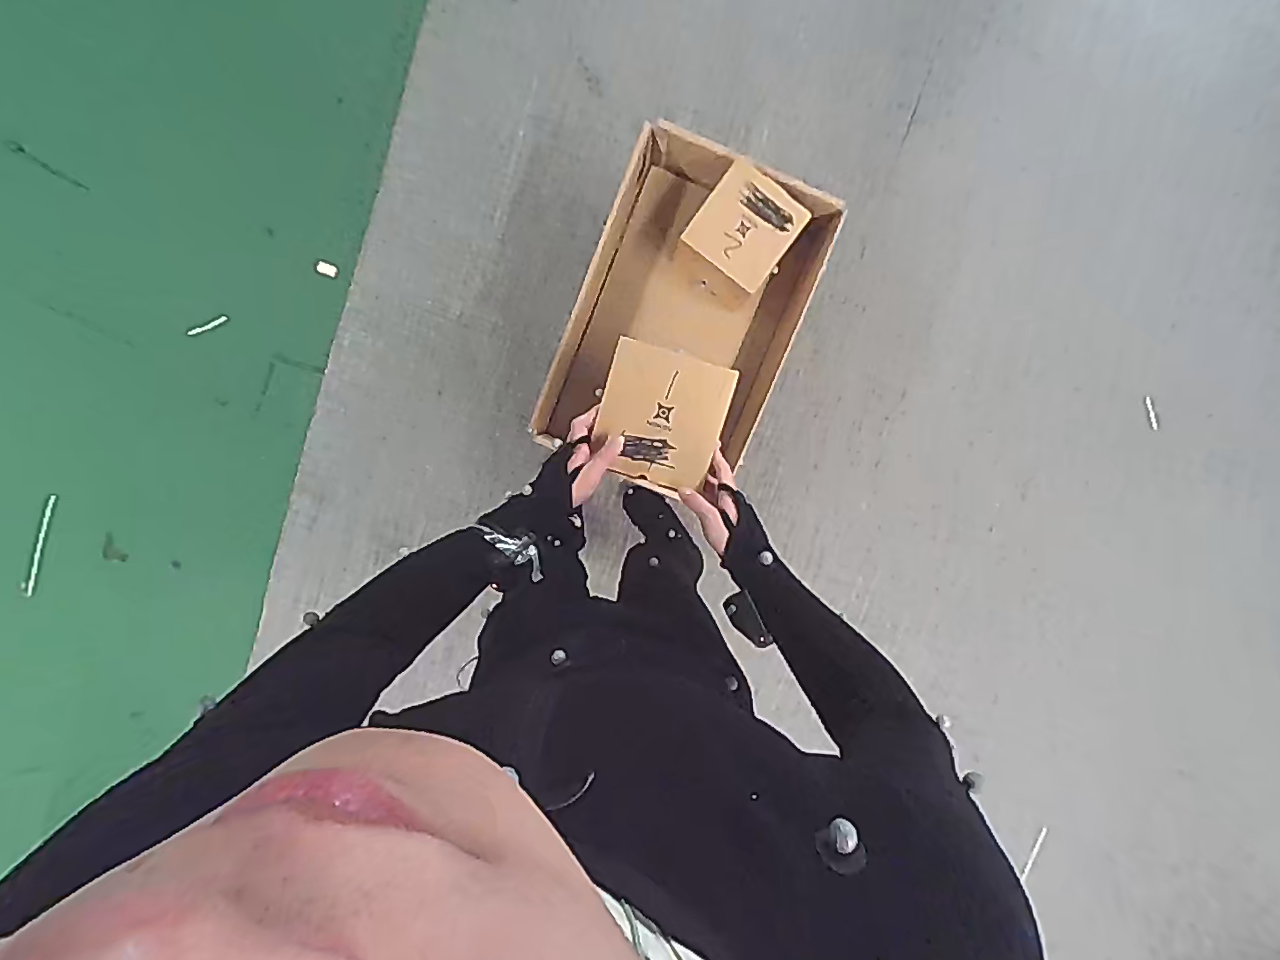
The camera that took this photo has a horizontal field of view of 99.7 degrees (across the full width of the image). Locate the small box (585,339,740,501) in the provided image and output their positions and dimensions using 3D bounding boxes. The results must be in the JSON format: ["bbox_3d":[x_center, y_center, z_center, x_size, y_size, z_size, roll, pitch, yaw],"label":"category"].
[{"bbox_3d":[0.029,-0.087,0.783,0.168,0.176,0.179,16,98,-4],"label":"small box"}]
